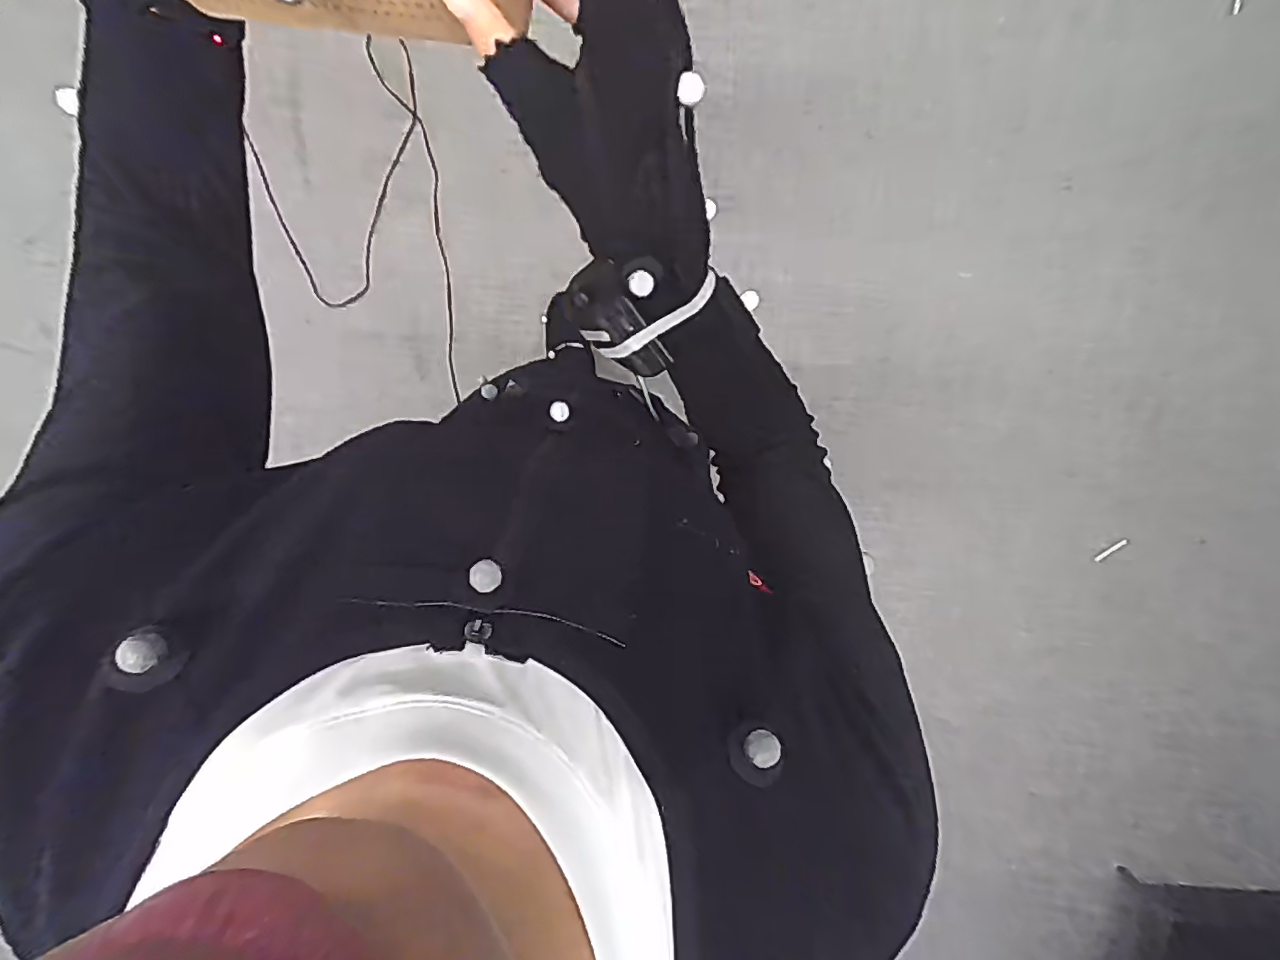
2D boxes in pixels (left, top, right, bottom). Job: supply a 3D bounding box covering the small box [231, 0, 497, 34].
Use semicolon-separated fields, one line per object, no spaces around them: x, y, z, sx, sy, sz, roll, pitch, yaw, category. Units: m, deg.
-0.130;-0.302;0.183;0.179;0.176;0.168;13;92;7;small box
